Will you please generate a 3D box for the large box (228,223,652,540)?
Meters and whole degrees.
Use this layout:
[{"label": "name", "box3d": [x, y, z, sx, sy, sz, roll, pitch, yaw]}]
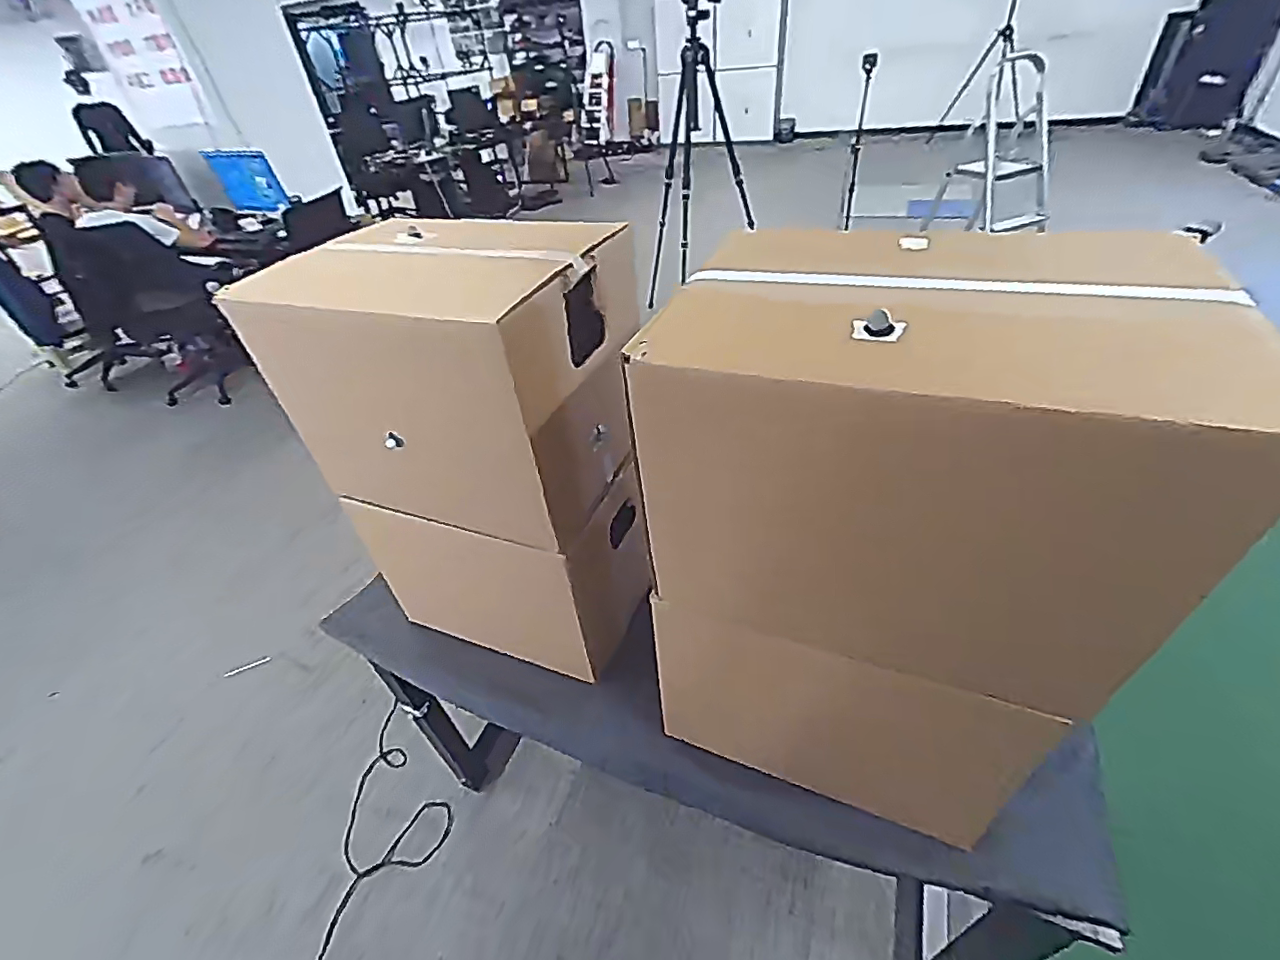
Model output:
[{"label": "large box", "box3d": [-0.231, -0.155, 0.764, 0.408, 0.320, 0.320, 11, 42, 22]}]
